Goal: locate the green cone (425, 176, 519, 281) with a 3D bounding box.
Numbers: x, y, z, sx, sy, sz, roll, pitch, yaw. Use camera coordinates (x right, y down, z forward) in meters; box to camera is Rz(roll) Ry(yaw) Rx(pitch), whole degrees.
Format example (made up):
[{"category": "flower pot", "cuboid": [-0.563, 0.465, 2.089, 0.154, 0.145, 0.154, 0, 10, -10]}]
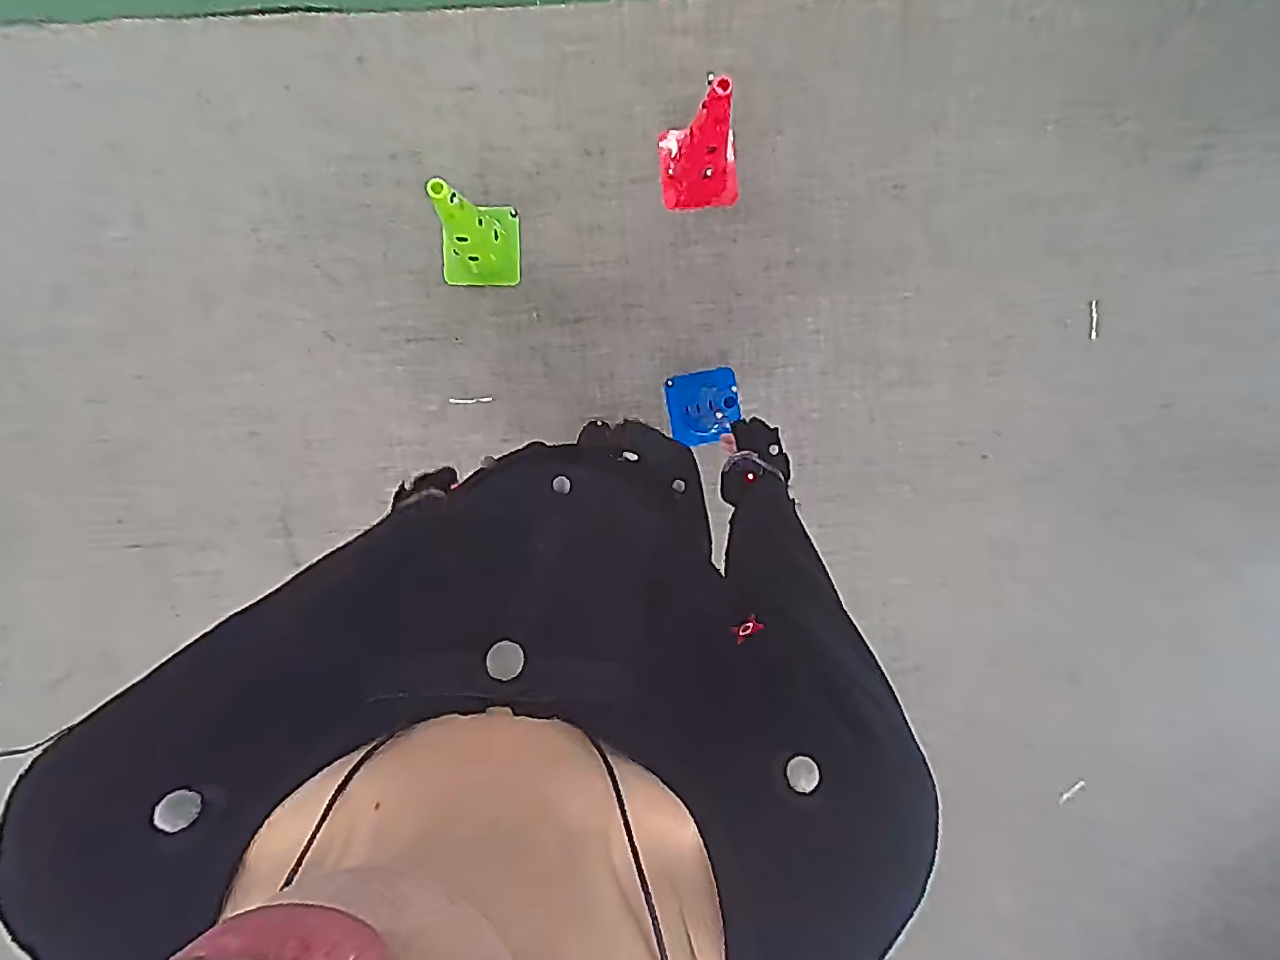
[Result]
[{"category": "green cone", "cuboid": [-0.417, -0.609, 1.248, 0.200, 0.368, 0.202, -1, 97, -2]}]
